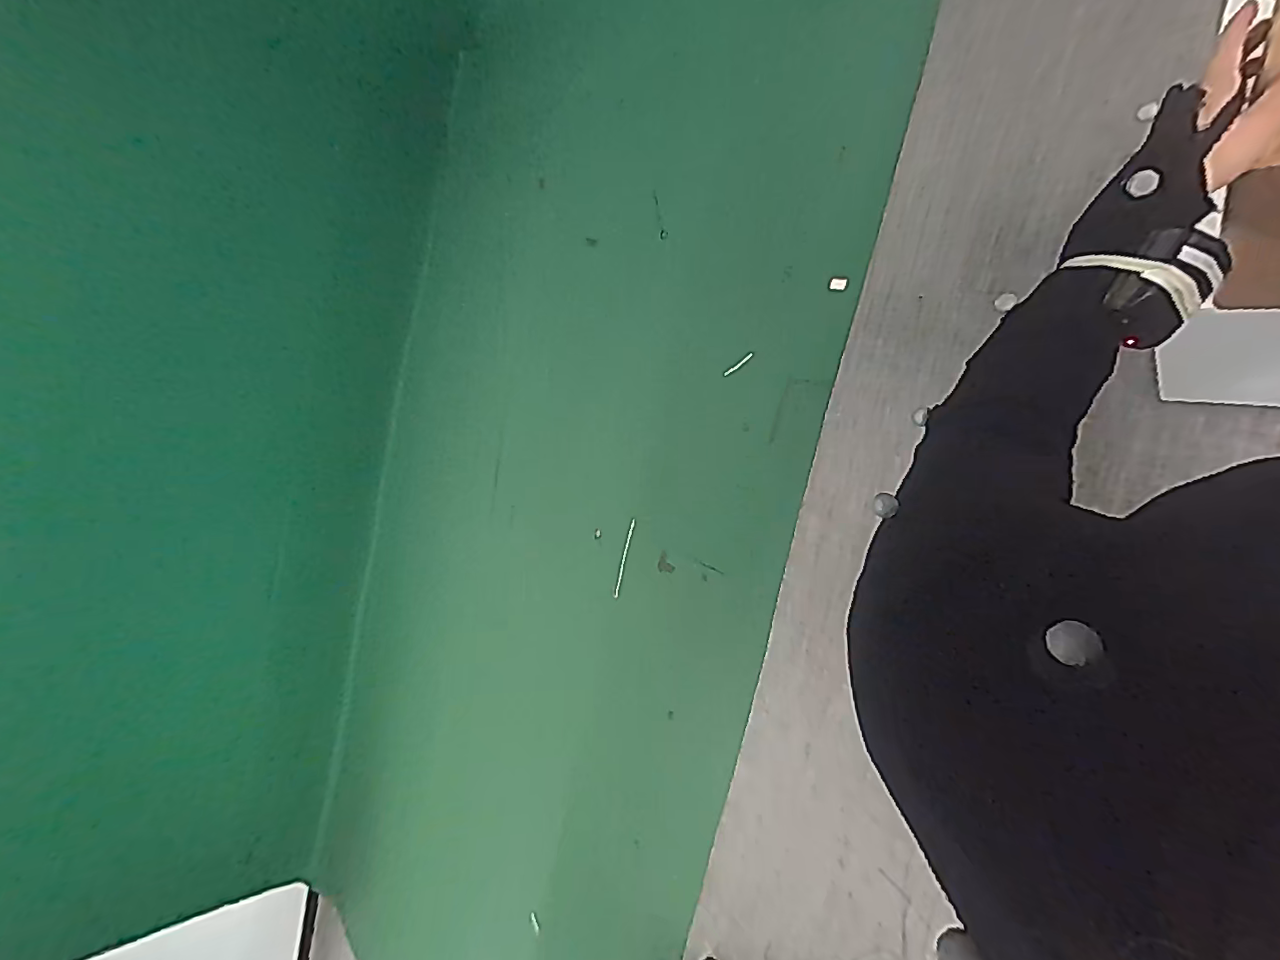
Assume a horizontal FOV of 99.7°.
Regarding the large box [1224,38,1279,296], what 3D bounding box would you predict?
[{"bbox_3d":[0.680,-0.318,0.321,0.408,0.320,0.320,16,97,44],"label":"large box"}]
